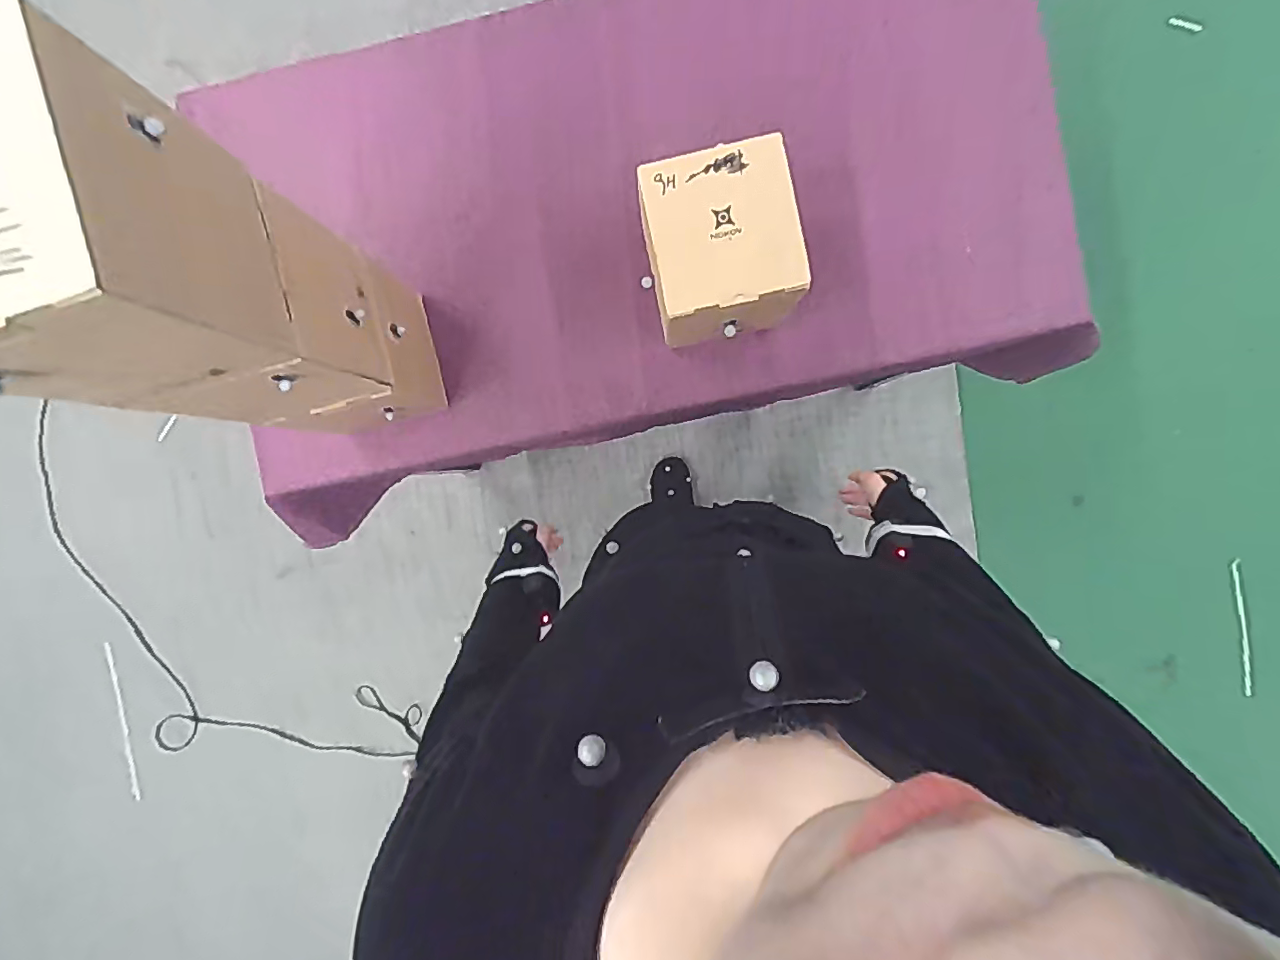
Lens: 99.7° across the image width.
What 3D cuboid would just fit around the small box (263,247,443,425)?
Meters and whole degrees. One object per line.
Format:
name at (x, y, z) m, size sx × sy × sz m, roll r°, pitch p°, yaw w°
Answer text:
small box at (-0.380, -0.172, 0.710) m, size 0.168 × 0.176 × 0.179 m, roll -13°, pitch 91°, yaw 2°

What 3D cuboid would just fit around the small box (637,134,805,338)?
small box at (0.095, -0.288, 0.684) m, size 0.168 × 0.176 × 0.179 m, roll -11°, pitch 92°, yaw 3°

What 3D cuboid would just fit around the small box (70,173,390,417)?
small box at (-0.391, -0.167, 0.548) m, size 0.179 × 0.176 × 0.168 m, roll -15°, pitch 91°, yaw 1°
